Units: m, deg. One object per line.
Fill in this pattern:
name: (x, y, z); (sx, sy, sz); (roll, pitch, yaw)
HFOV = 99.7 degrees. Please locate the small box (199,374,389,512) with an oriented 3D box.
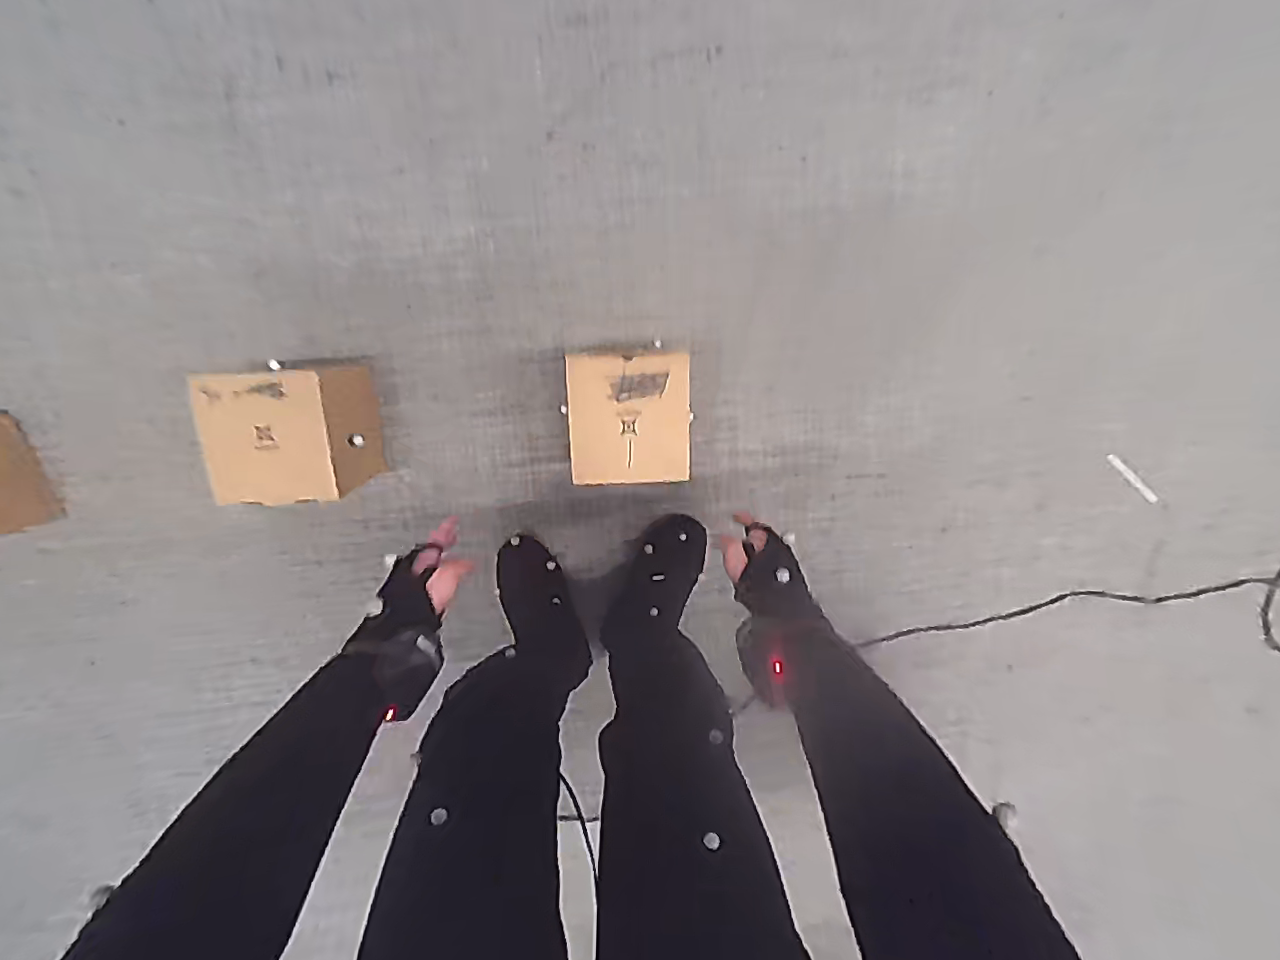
small box: (-0.492, -0.062, 0.802); (0.168, 0.176, 0.179); (-3, 104, -3)

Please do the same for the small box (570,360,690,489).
small box: (-0.017, -0.093, 0.822); (0.168, 0.176, 0.179); (-2, 104, -2)
